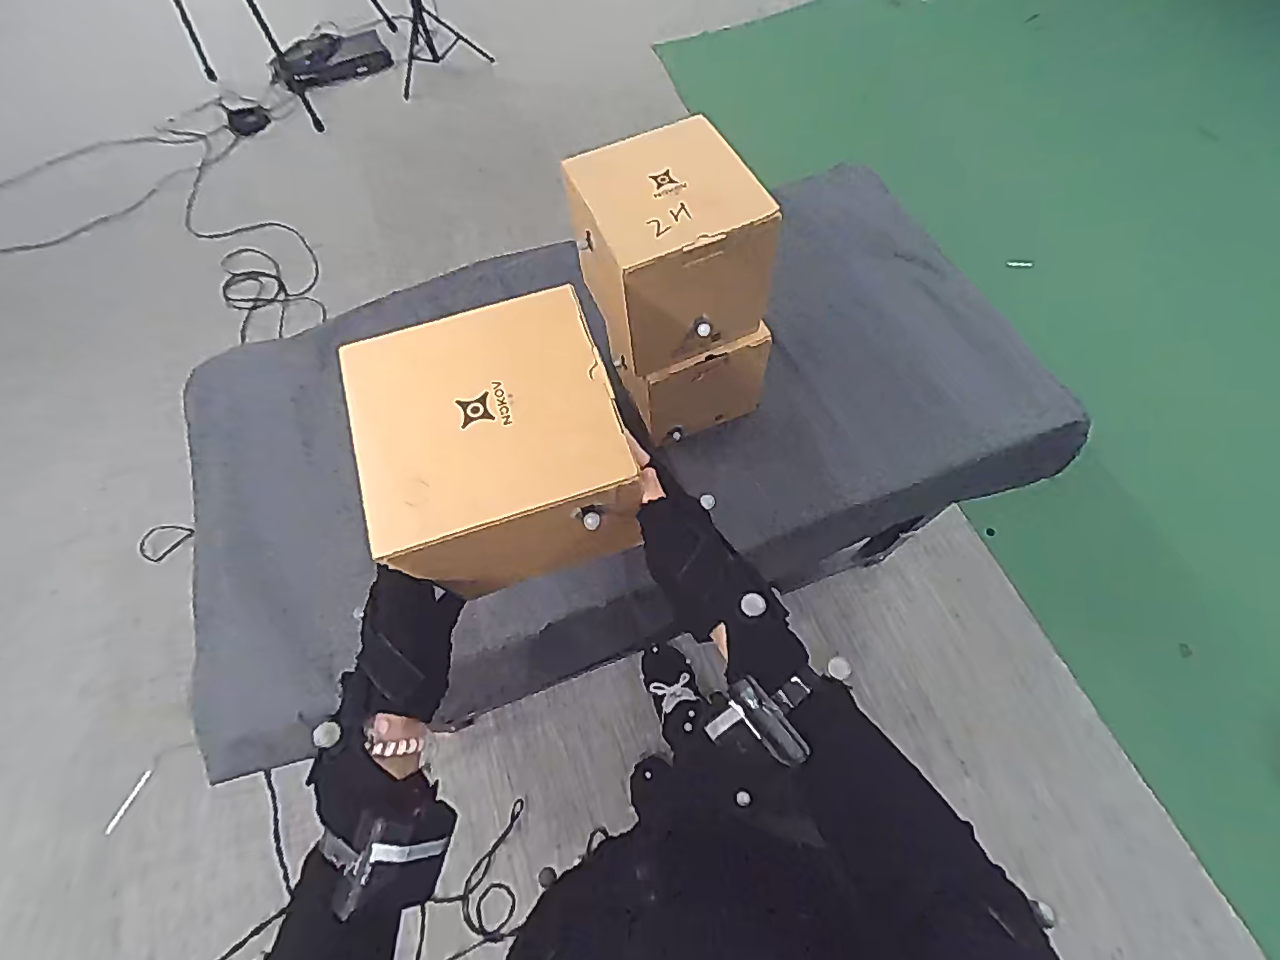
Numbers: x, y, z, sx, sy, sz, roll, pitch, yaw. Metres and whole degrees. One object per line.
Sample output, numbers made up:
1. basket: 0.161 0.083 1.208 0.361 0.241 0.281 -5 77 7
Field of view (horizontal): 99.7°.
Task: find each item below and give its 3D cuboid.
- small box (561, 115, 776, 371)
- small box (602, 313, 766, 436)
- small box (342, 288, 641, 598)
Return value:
1. small box: 0.027 -0.257 0.609 0.168 0.176 0.179 -23 66 -6
2. small box: 0.056 -0.181 0.753 0.168 0.176 0.179 -22 65 -6
3. small box: -0.105 -0.016 0.440 0.179 0.176 0.168 -18 69 -6
